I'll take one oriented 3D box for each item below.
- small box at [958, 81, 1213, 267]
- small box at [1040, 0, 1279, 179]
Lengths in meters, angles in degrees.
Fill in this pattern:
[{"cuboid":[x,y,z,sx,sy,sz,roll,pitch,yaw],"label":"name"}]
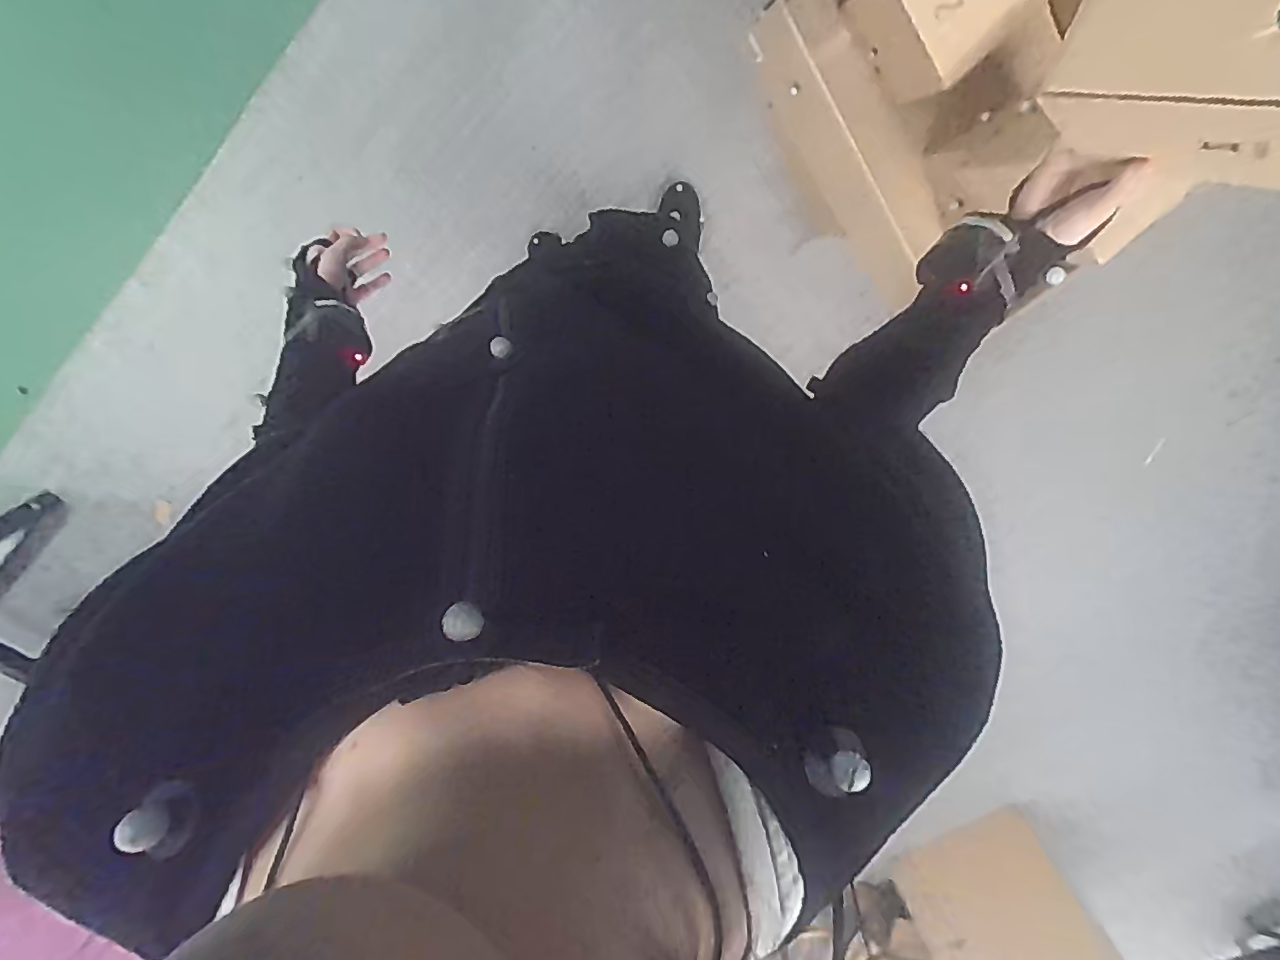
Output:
[{"cuboid":[0.567,-0.409,0.702,0.179,0.176,0.168,38,108,-20],"label":"small box"},{"cuboid":[0.356,-0.270,0.272,0.168,0.179,0.176,-10,125,-42],"label":"small box"}]
